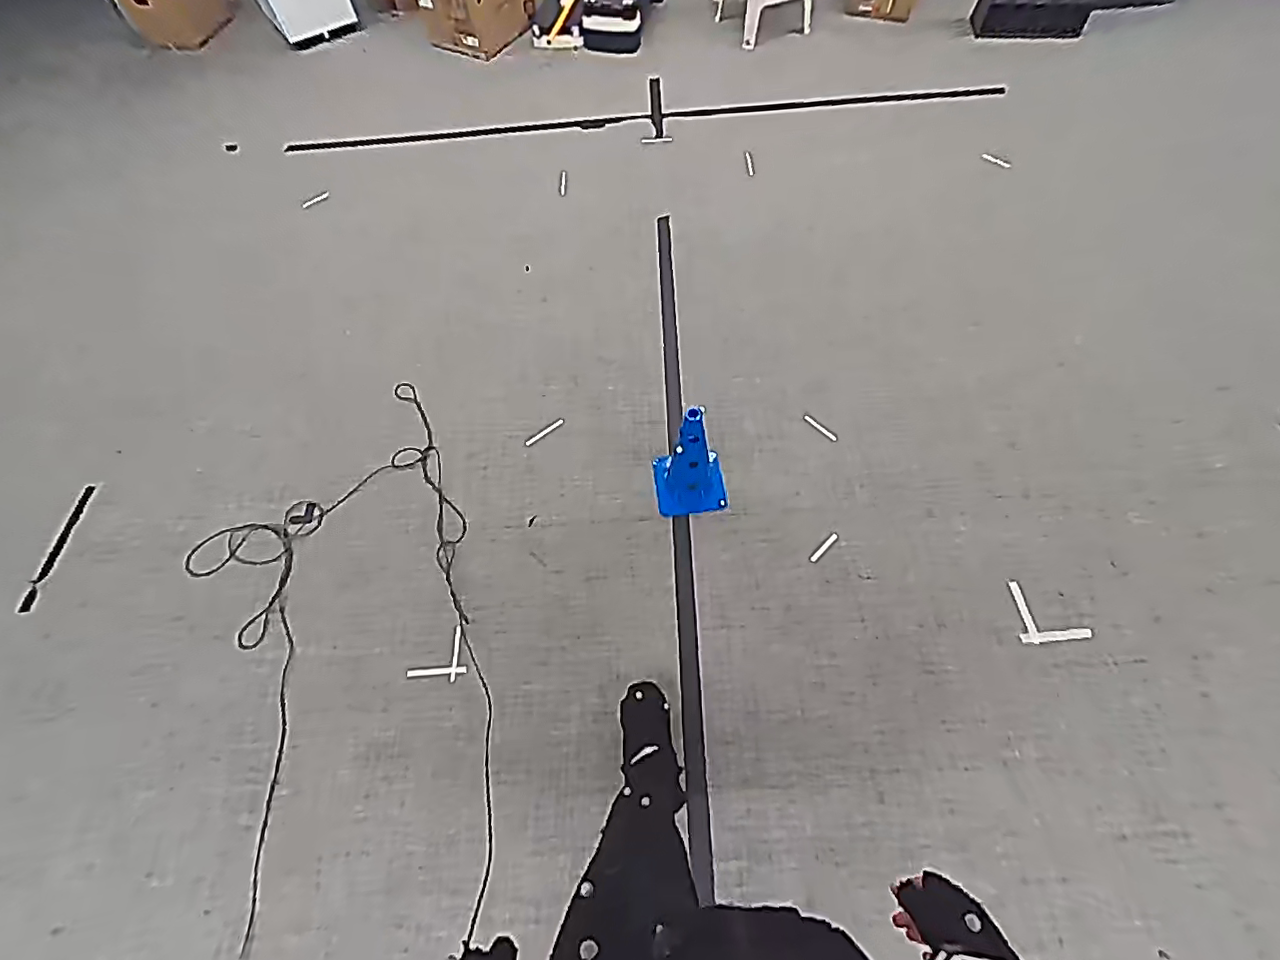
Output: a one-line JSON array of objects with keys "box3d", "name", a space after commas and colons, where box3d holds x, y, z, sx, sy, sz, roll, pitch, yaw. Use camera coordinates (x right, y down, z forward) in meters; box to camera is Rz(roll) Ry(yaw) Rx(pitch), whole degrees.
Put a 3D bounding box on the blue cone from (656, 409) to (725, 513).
[{"box3d": [0.140, -0.068, 1.456, 0.192, 0.380, 0.193, -6, 62, -1], "name": "blue cone"}]
